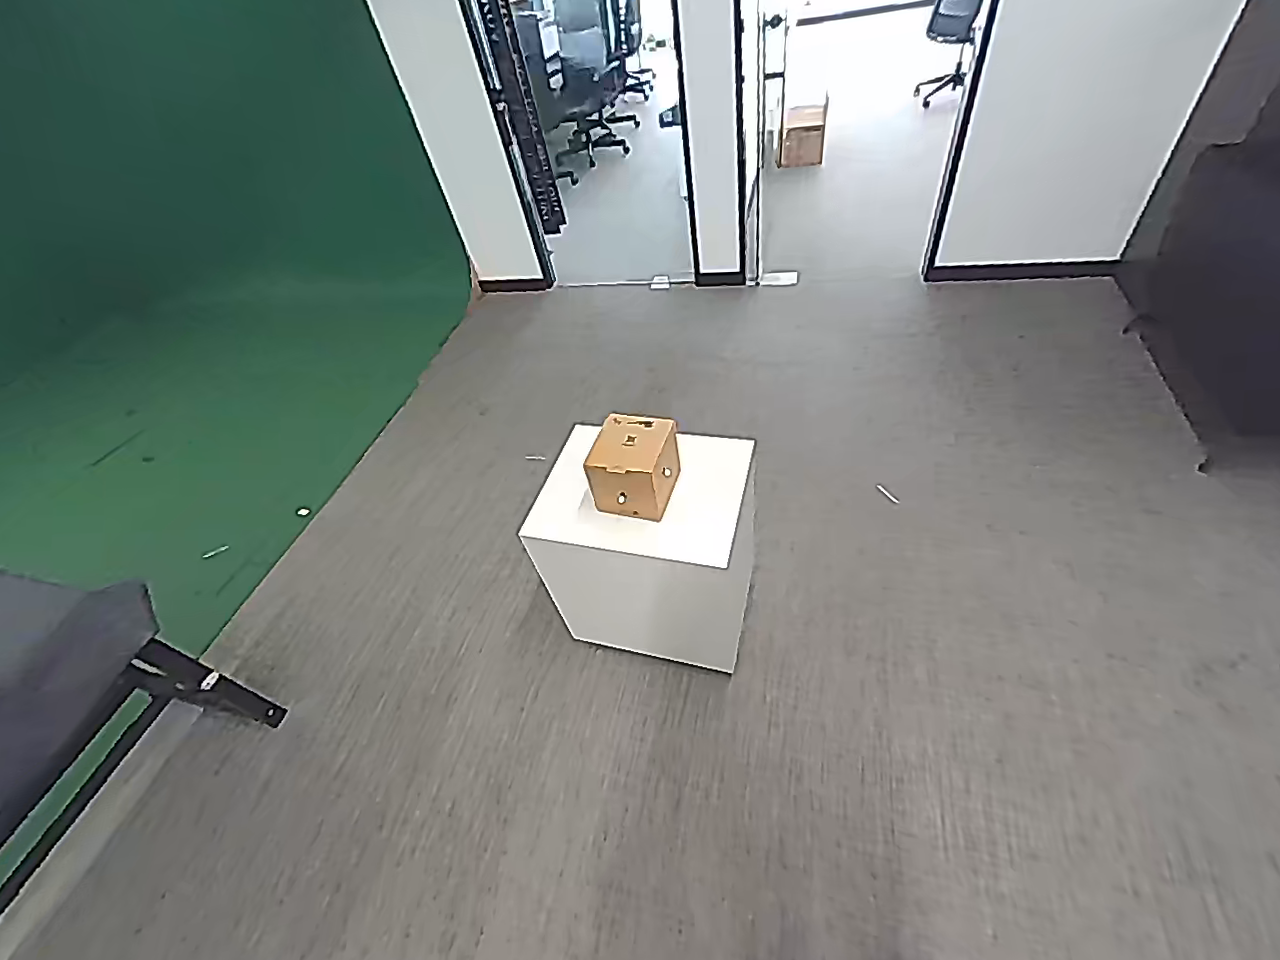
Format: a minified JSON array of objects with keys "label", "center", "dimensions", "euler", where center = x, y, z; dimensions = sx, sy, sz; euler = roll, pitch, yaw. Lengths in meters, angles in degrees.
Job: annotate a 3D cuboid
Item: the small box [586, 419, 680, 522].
[{"label":"small box","center":[-0.007,-0.021,1.285],"dimensions":[0.168,0.176,0.179],"euler":[6,49,18]}]
